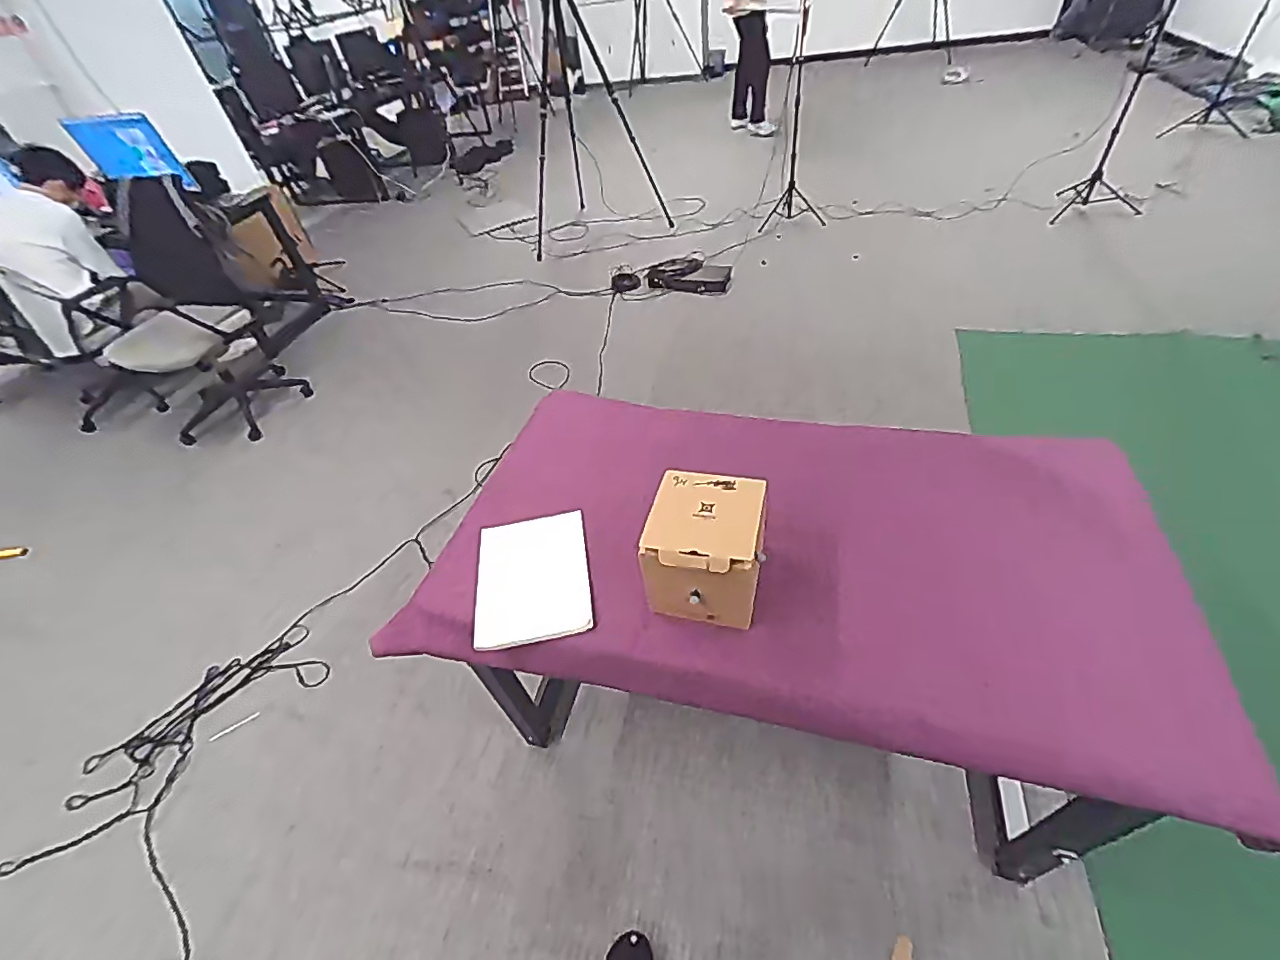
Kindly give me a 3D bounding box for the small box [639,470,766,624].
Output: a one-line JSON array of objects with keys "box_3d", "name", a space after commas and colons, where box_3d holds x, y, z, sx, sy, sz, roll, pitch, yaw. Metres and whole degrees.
[{"box_3d": [0.109, 0.109, 0.878, 0.168, 0.176, 0.179, 7, 48, 16], "name": "small box"}]
